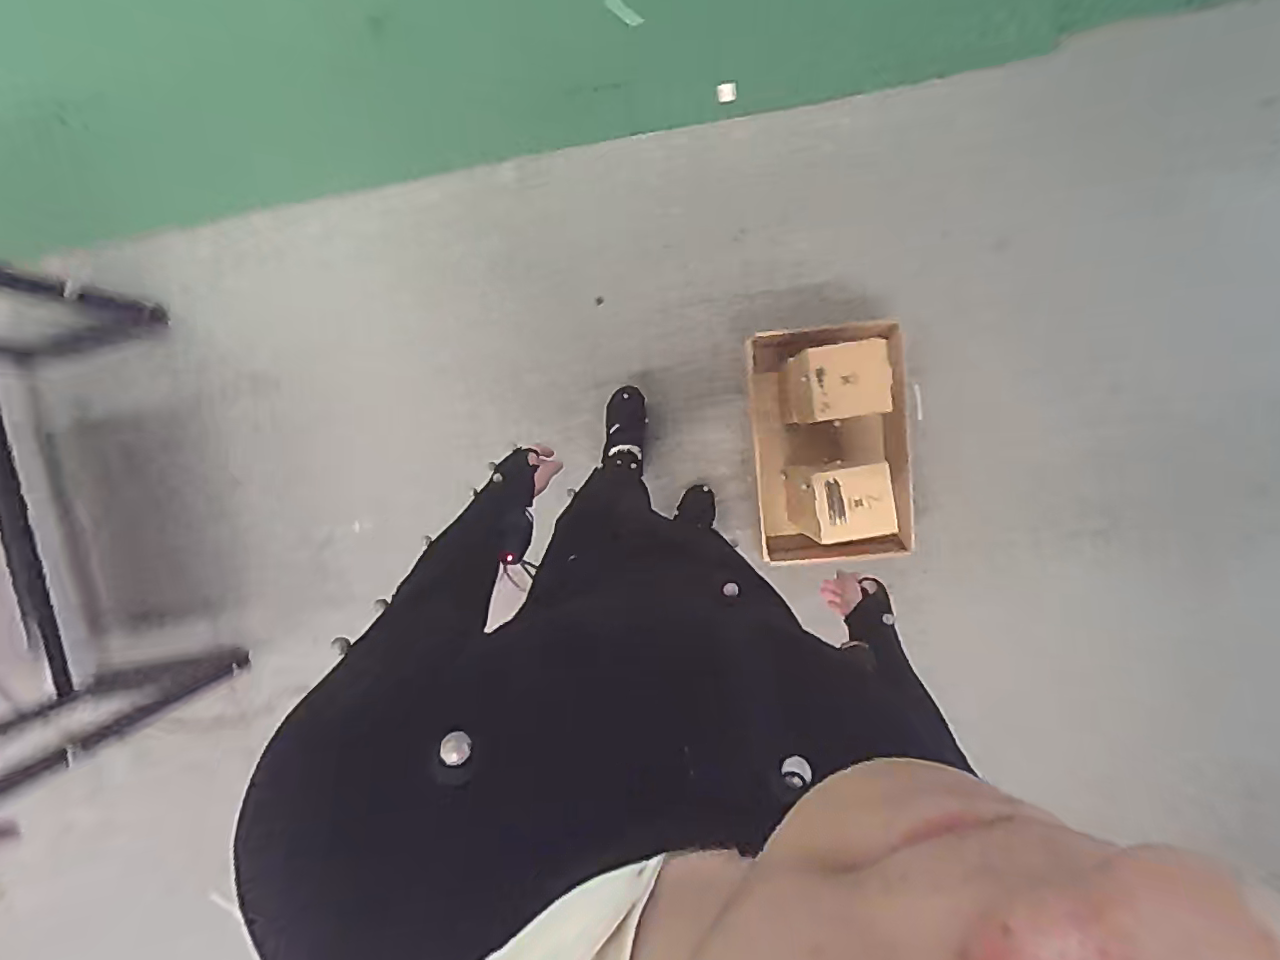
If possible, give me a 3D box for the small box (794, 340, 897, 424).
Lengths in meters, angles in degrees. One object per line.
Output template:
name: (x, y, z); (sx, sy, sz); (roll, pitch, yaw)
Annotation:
small box: (0.476, -0.224, 1.271); (0.179, 0.176, 0.168); (-6, 92, 2)
